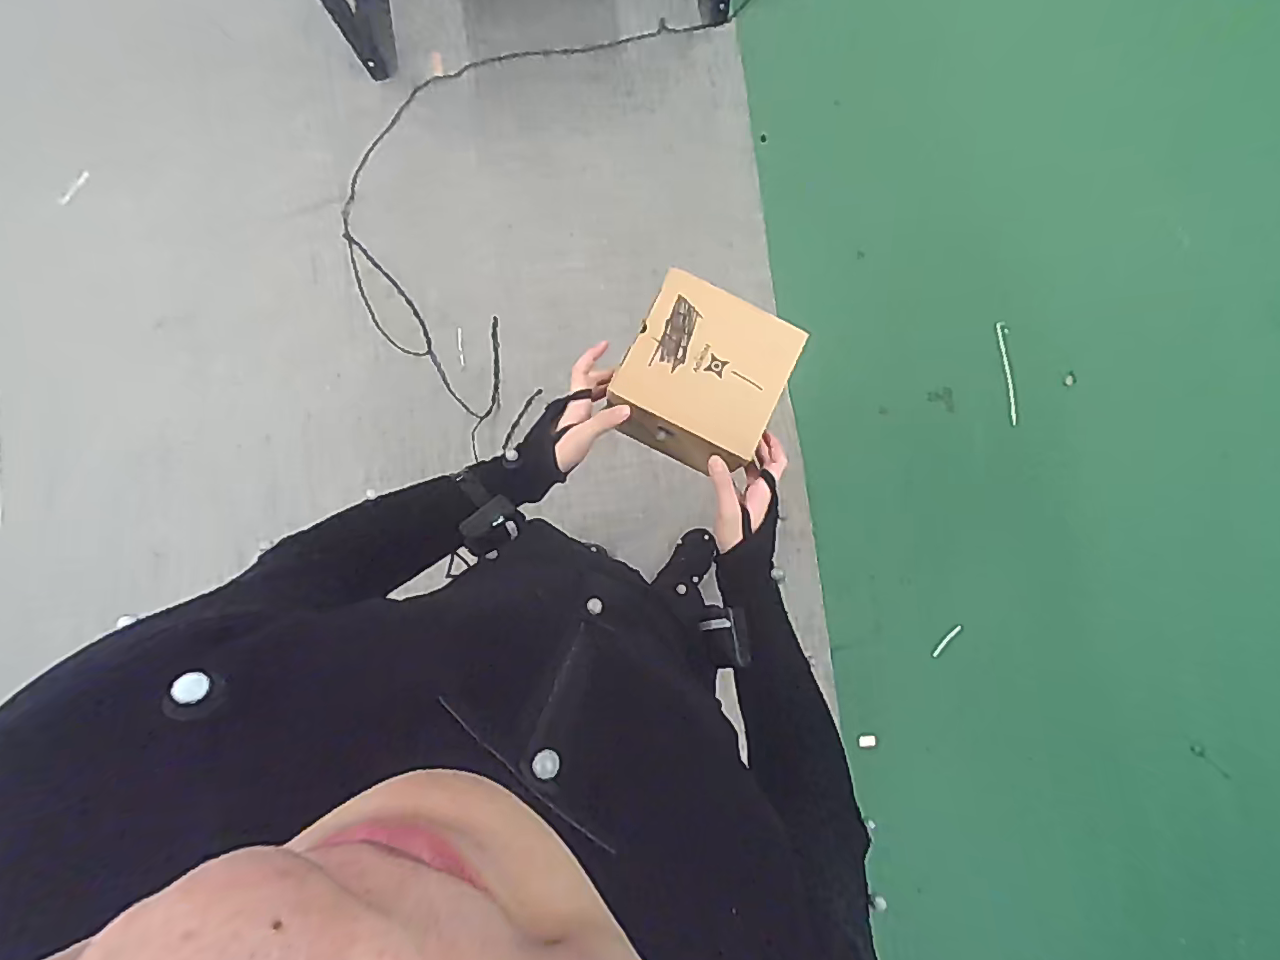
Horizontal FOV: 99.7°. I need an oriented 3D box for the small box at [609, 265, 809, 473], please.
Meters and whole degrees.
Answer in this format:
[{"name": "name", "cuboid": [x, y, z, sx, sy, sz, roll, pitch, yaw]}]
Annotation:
[{"name": "small box", "cuboid": [0.071, -0.121, 0.667, 0.179, 0.176, 0.168, 26, 81, -1]}]
